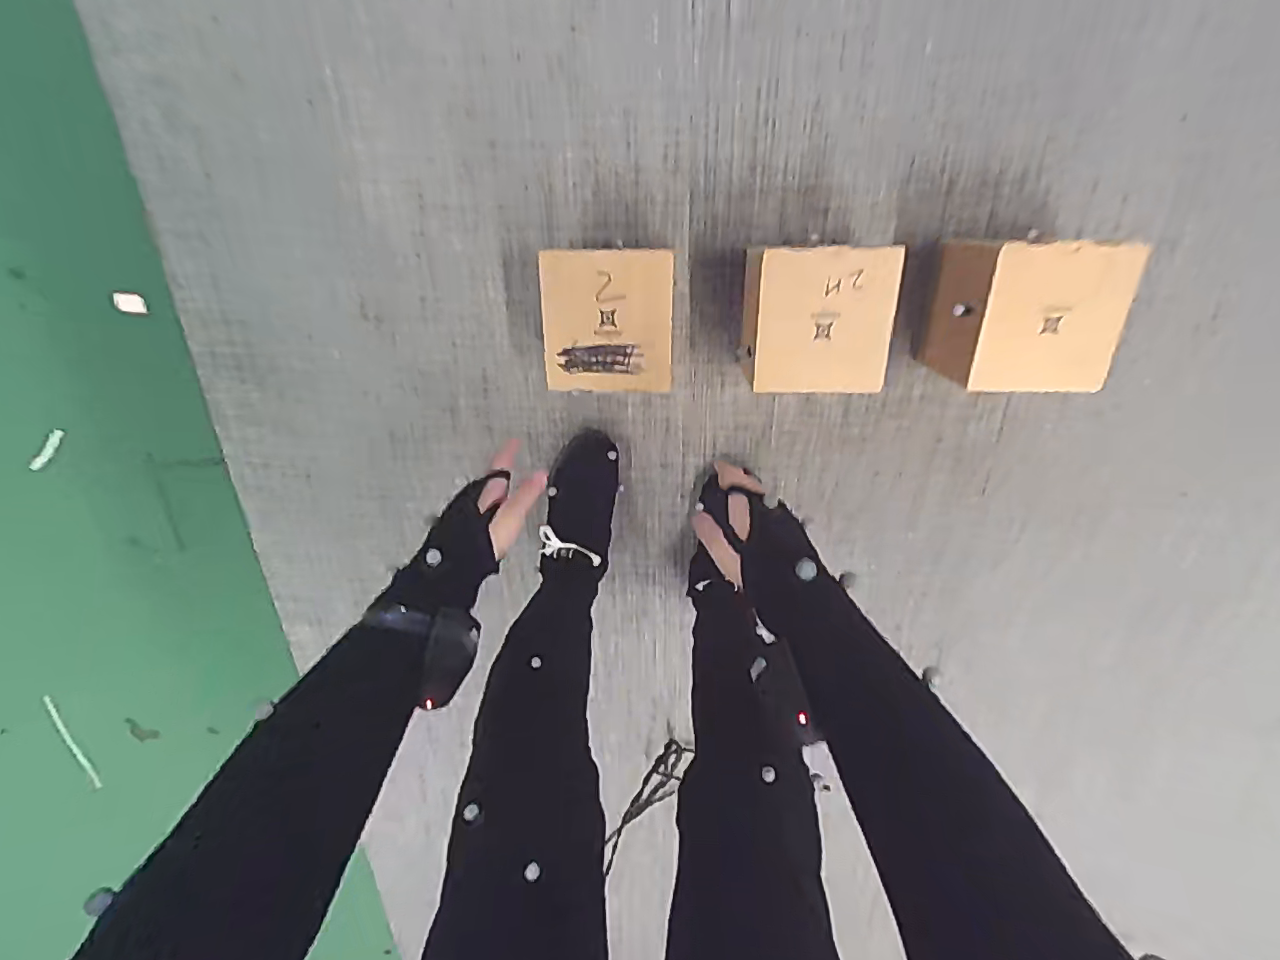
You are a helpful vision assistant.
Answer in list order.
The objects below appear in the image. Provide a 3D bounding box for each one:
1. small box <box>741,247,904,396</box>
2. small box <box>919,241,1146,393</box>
[{"bbox_3d":[0.233,-0.222,0.739,0.168,0.176,0.179,1,113,3],"label":"small box"},{"bbox_3d":[0.499,-0.223,0.724,0.168,0.176,0.179,1,113,4],"label":"small box"}]
